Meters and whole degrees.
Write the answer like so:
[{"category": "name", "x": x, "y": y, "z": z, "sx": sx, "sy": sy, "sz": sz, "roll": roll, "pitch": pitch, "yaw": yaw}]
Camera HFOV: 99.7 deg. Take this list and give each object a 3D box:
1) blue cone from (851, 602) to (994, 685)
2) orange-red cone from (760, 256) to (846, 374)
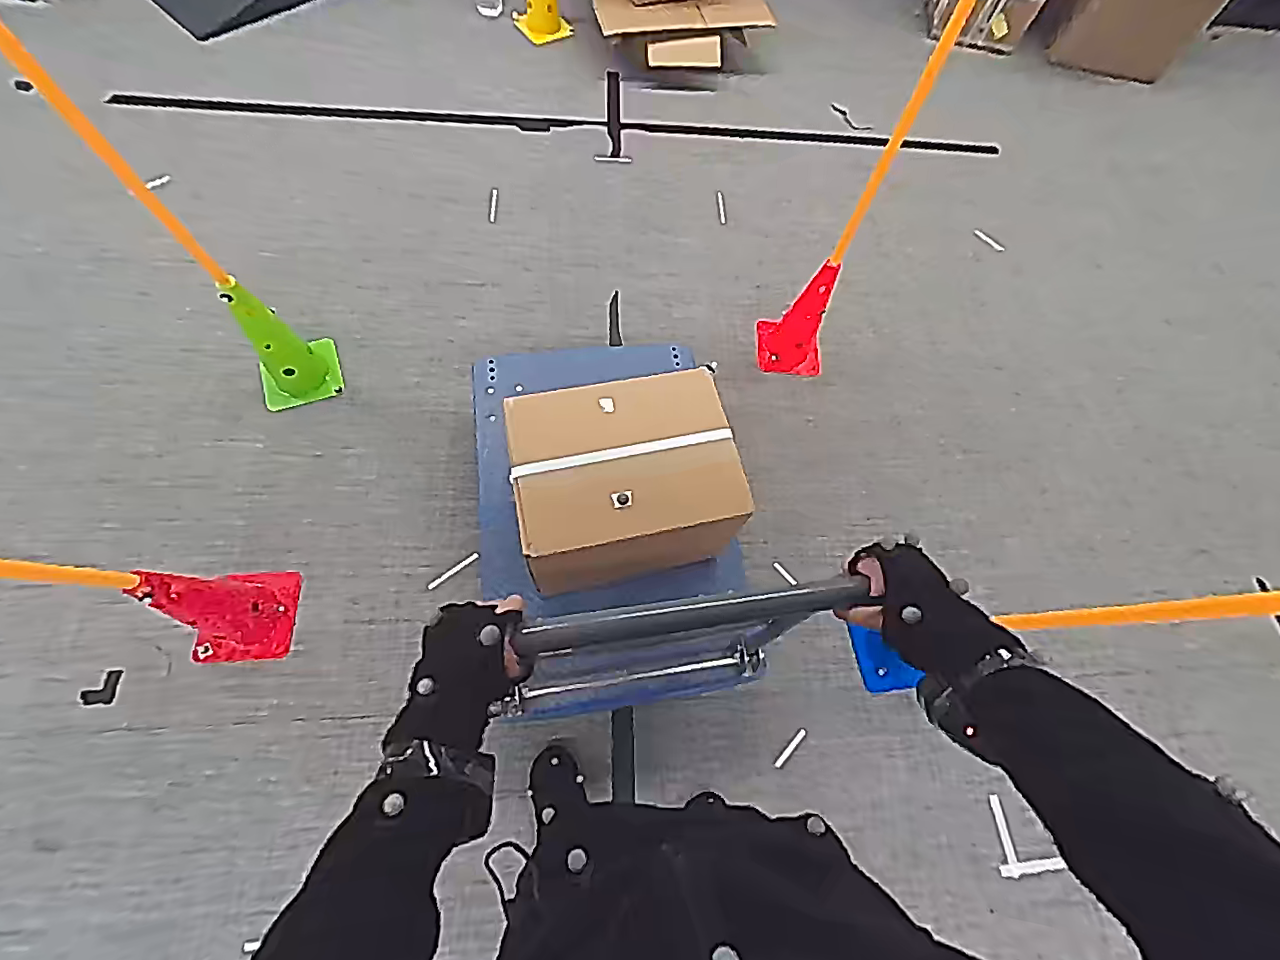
[{"category": "blue cone", "x": 0.655, "y": 0.341, "z": 1.211, "sx": 0.193, "sy": 0.380, "sz": 0.192, "roll": -3, "pitch": 66, "yaw": -8}, {"category": "orange-red cone", "x": 0.494, "y": -0.492, "z": 1.543, "sx": 0.199, "sy": 0.360, "sz": 0.198, "roll": 6, "pitch": 67, "yaw": -4}]
